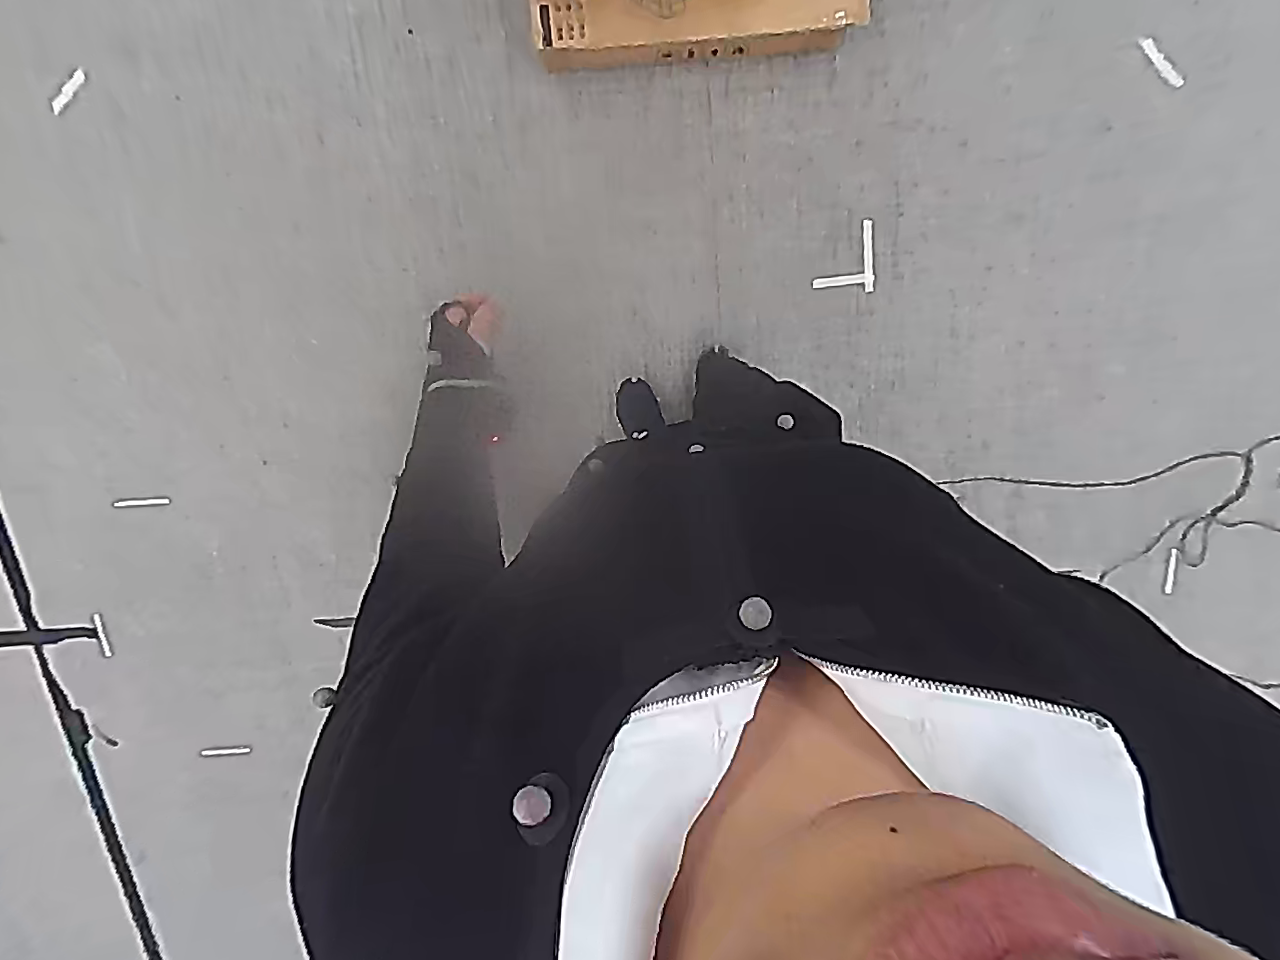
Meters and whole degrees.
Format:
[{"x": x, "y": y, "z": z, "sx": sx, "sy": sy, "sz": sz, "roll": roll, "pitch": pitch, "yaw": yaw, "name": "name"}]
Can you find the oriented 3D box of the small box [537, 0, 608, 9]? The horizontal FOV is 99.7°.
[{"x": -0.149, "y": -1.092, "z": 1.071, "sx": 0.168, "sy": 0.176, "sz": 0.179, "roll": -5, "pitch": 102, "yaw": 0, "name": "small box"}]
